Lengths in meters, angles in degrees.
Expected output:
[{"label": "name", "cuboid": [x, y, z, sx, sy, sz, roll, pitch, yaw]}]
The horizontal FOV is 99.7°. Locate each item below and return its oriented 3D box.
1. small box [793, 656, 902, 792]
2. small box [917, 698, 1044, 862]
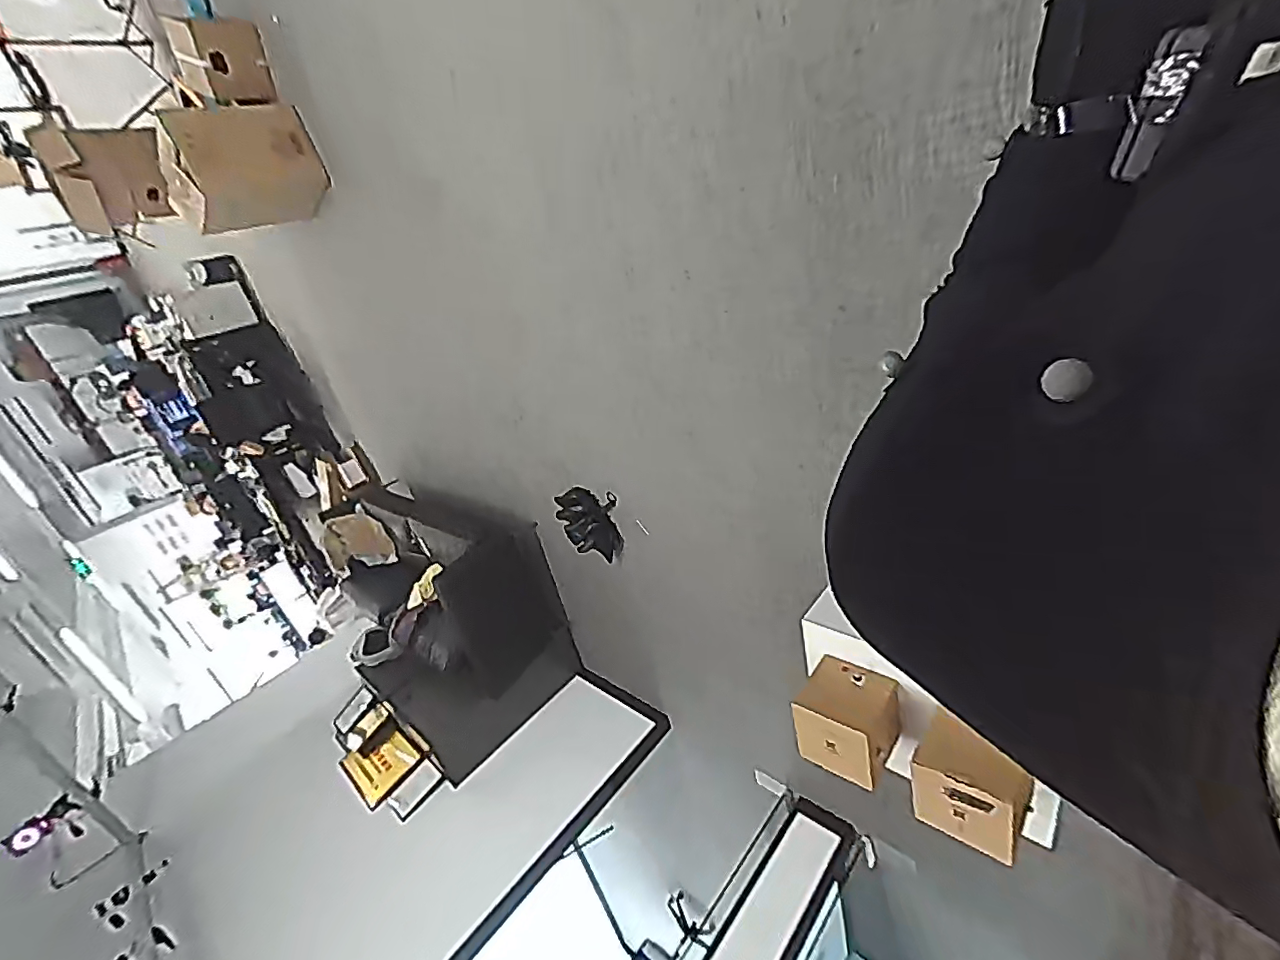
[{"label": "small box", "cuboid": [0.459, 0.524, 1.184, 0.168, 0.176, 0.179, 9, 122, 44]}, {"label": "small box", "cuboid": [0.643, 0.552, 1.021, 0.168, 0.176, 0.179, 9, 125, 46]}]
